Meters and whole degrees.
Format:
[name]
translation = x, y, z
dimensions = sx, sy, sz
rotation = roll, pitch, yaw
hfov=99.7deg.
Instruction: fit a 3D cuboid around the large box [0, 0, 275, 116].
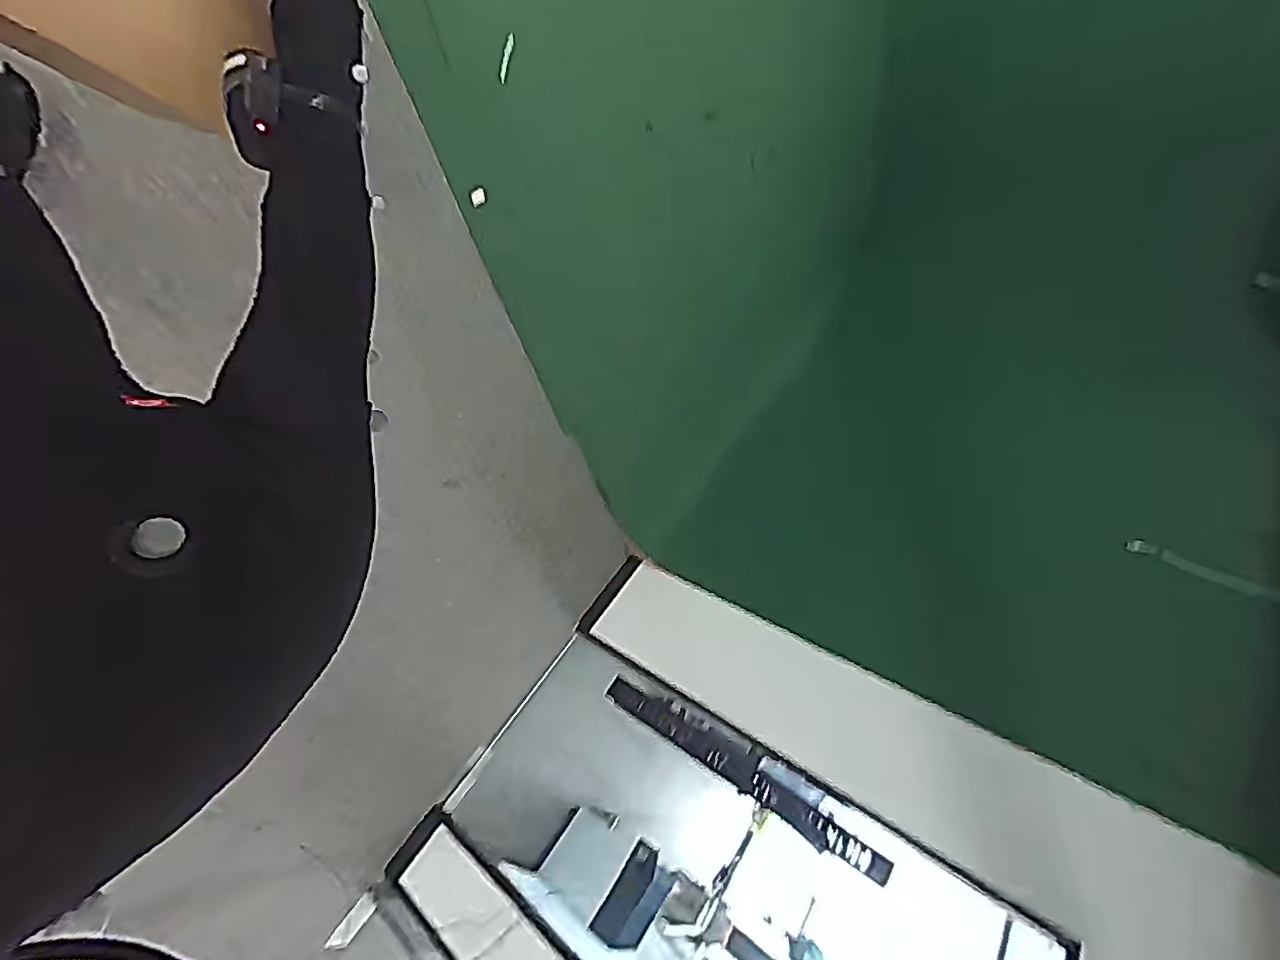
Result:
[large box]
translation = -0.512, -0.530, 0.357
dimensions = 0.408, 0.320, 0.320
rotation = 6, 110, -60
